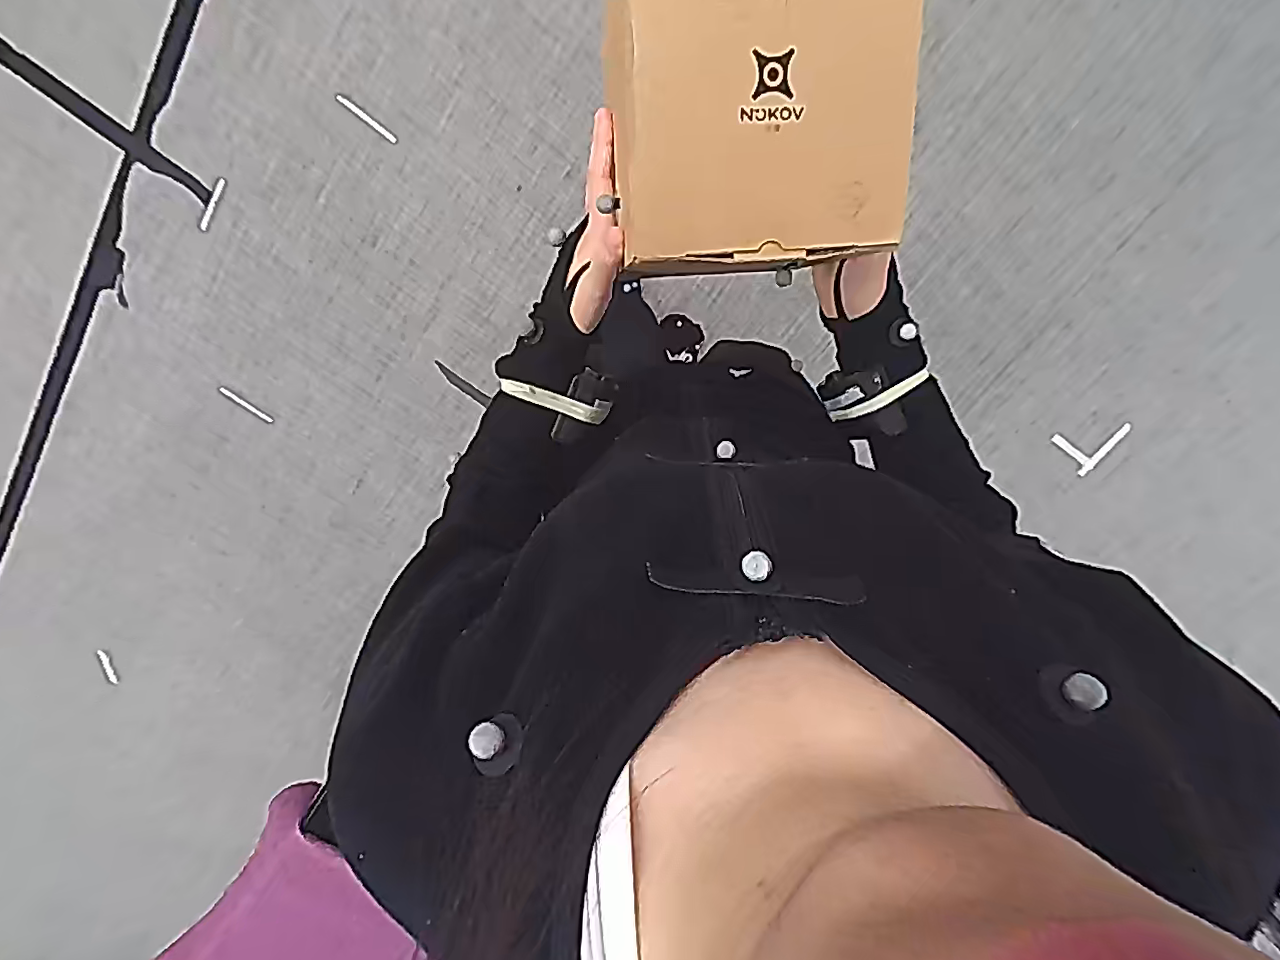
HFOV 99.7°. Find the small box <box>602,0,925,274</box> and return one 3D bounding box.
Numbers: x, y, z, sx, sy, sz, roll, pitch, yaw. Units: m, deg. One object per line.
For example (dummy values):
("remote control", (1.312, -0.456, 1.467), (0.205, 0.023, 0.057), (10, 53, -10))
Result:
("small box", (0.064, -0.239, 0.369), (0.168, 0.176, 0.179), (-5, 107, -5))
